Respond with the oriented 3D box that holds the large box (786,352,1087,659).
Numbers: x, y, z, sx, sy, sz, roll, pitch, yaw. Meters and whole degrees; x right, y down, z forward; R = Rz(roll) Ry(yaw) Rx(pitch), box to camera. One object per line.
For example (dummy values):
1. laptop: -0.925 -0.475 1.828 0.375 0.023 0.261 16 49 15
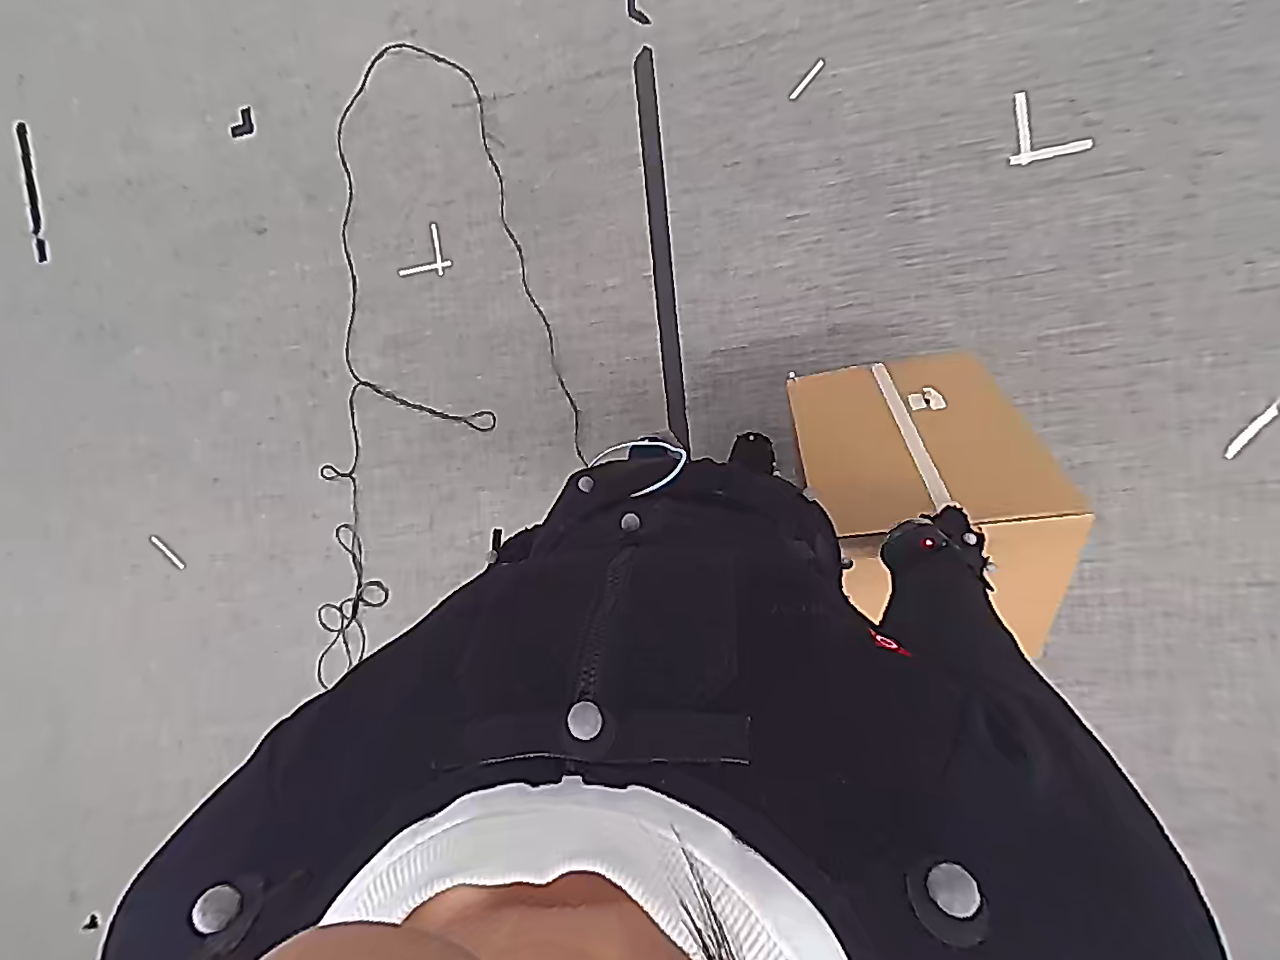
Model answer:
1. large box: 0.445 0.038 0.917 0.320 0.408 0.320 -8 129 13
